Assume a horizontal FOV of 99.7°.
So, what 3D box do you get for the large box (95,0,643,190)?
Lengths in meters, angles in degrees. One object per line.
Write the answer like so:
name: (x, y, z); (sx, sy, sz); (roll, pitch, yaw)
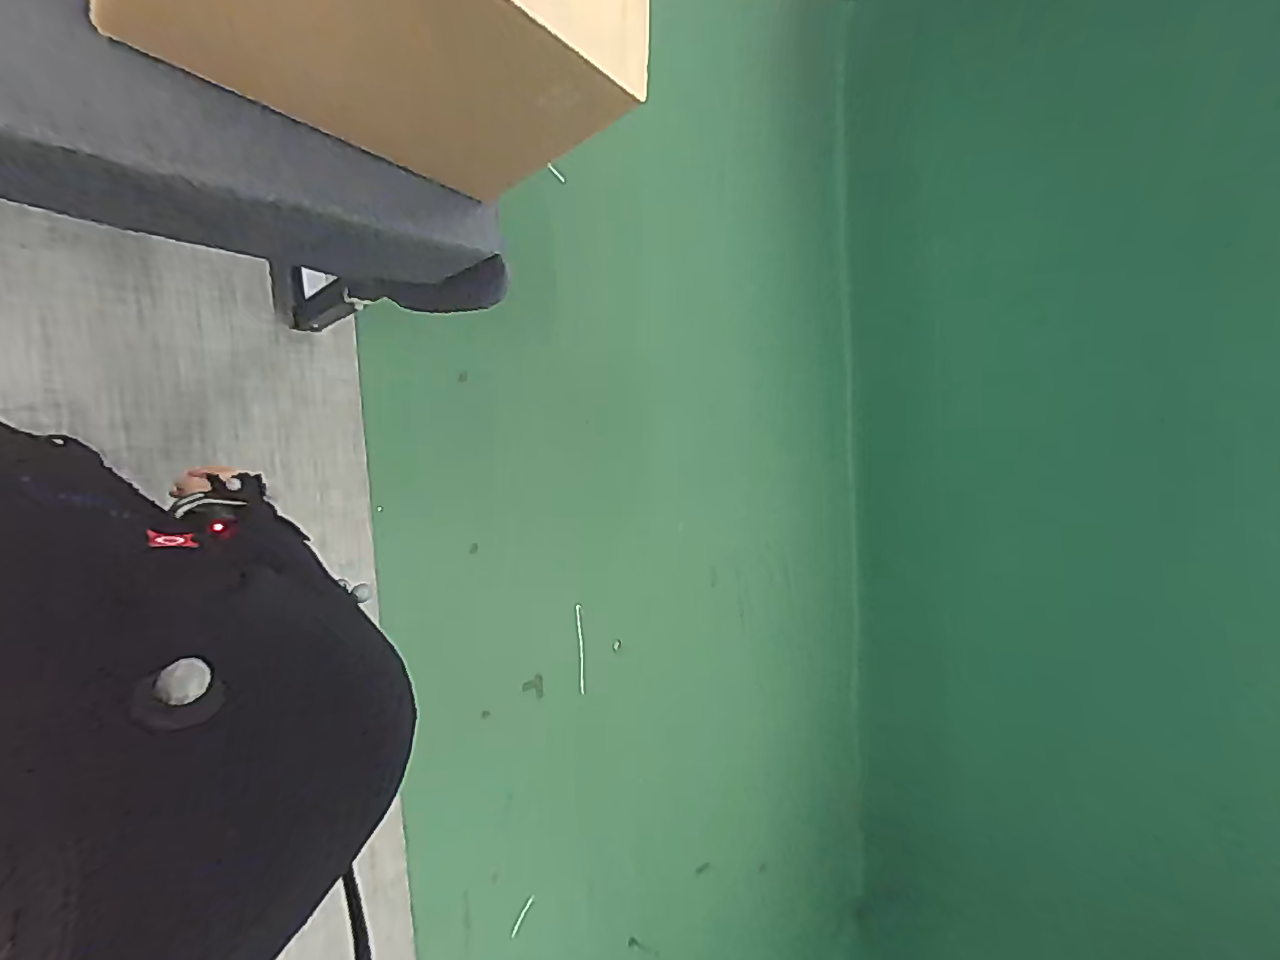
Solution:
large box: (-0.243, -0.559, 0.528); (0.408, 0.320, 0.320); (0, 91, -49)
